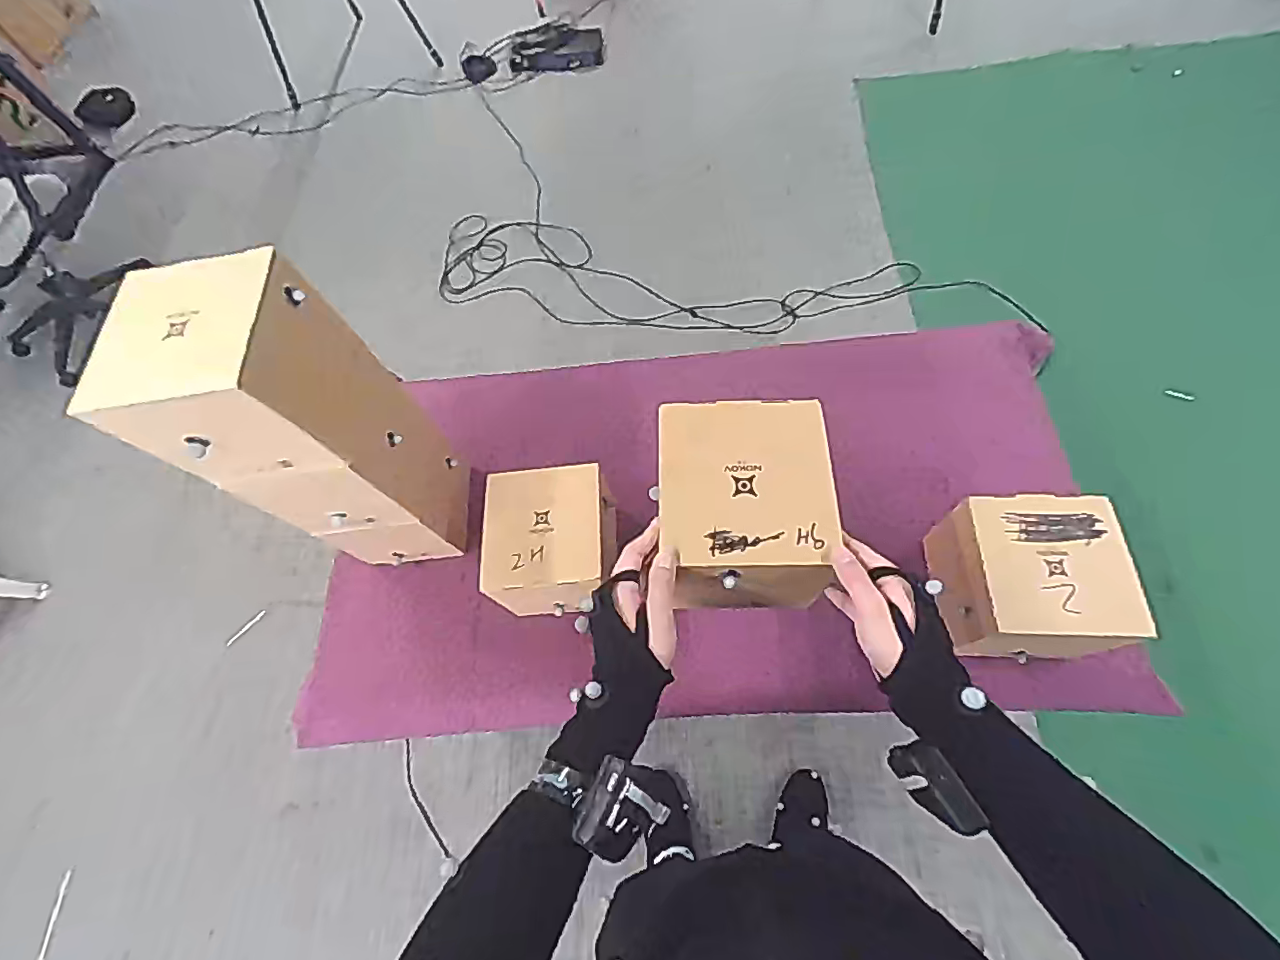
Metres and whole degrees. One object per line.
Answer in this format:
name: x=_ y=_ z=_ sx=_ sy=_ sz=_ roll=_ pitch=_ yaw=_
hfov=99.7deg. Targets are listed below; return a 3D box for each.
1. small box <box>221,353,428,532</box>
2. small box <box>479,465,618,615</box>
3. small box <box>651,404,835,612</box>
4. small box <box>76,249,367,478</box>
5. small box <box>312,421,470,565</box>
small box: x=-0.408 y=-0.044 z=0.735 sx=0.168 sy=0.176 sz=0.179 roll=-7 pitch=65 yaw=5
small box: x=-0.127 y=0.096 z=0.816 sx=0.168 sy=0.176 sz=0.179 roll=-5 pitch=65 yaw=5
small box: x=0.099 y=0.036 z=0.586 sx=0.168 sy=0.176 sz=0.179 roll=-1 pitch=64 yaw=5
small box: x=-0.427 y=-0.112 z=0.590 sx=0.168 sy=0.176 sz=0.179 roll=-8 pitch=64 yaw=5
small box: x=-0.390 y=0.026 z=0.882 sx=0.168 sy=0.176 sz=0.179 roll=-6 pitch=65 yaw=4
